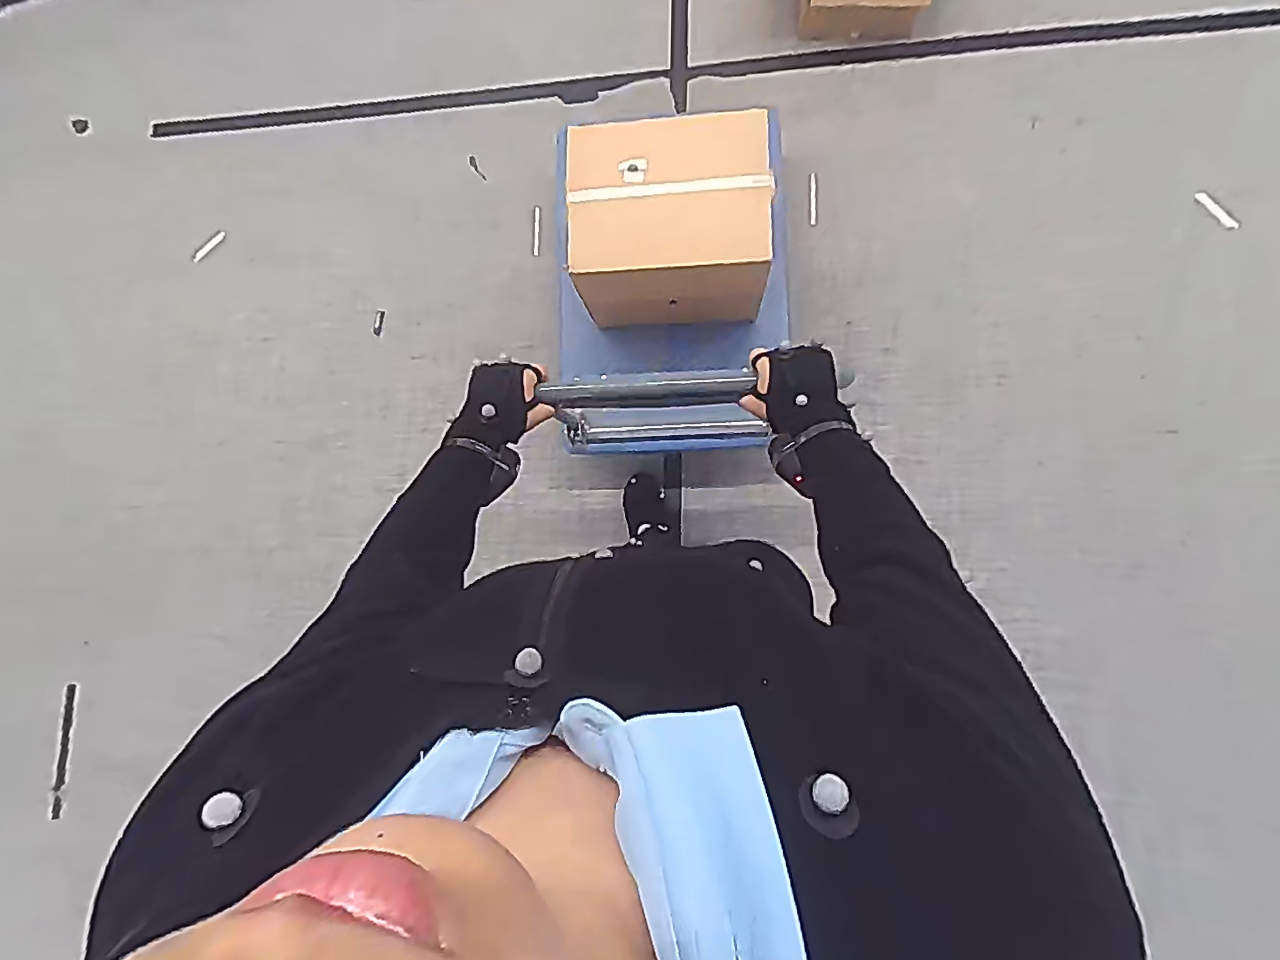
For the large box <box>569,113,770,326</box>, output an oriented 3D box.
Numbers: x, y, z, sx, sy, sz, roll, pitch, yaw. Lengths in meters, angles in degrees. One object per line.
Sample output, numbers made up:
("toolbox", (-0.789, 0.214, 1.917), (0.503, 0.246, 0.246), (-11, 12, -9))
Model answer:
("large box", (0.073, -0.564, 1.240), (0.408, 0.320, 0.320), (-2, 84, 7))
